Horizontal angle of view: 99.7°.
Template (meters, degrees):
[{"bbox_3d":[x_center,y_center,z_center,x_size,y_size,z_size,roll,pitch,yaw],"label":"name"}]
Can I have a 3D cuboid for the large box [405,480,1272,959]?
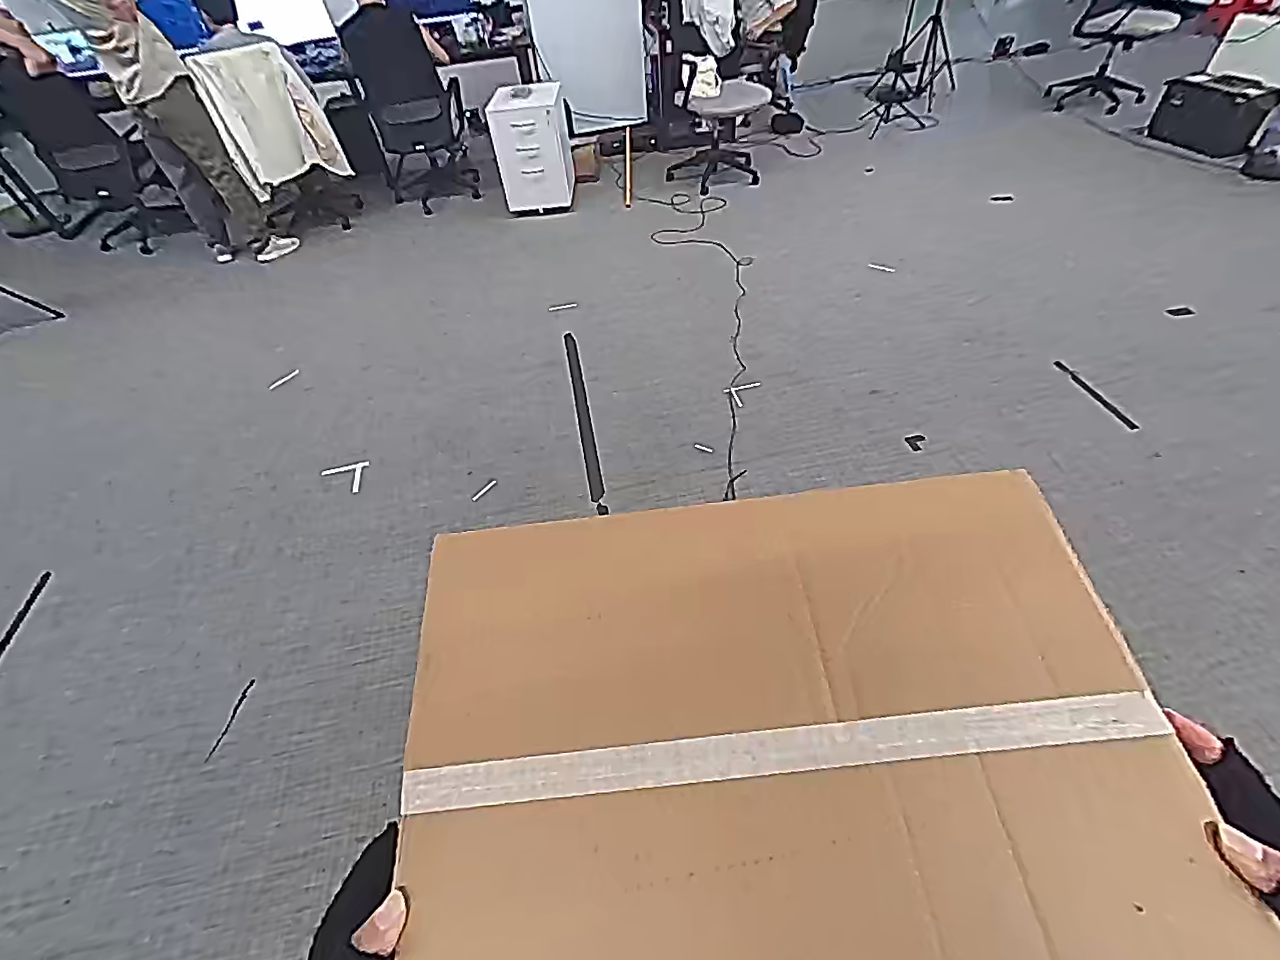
[{"bbox_3d":[0.086,0.232,0.424,0.408,0.320,0.320,-7,58,2],"label":"large box"}]
